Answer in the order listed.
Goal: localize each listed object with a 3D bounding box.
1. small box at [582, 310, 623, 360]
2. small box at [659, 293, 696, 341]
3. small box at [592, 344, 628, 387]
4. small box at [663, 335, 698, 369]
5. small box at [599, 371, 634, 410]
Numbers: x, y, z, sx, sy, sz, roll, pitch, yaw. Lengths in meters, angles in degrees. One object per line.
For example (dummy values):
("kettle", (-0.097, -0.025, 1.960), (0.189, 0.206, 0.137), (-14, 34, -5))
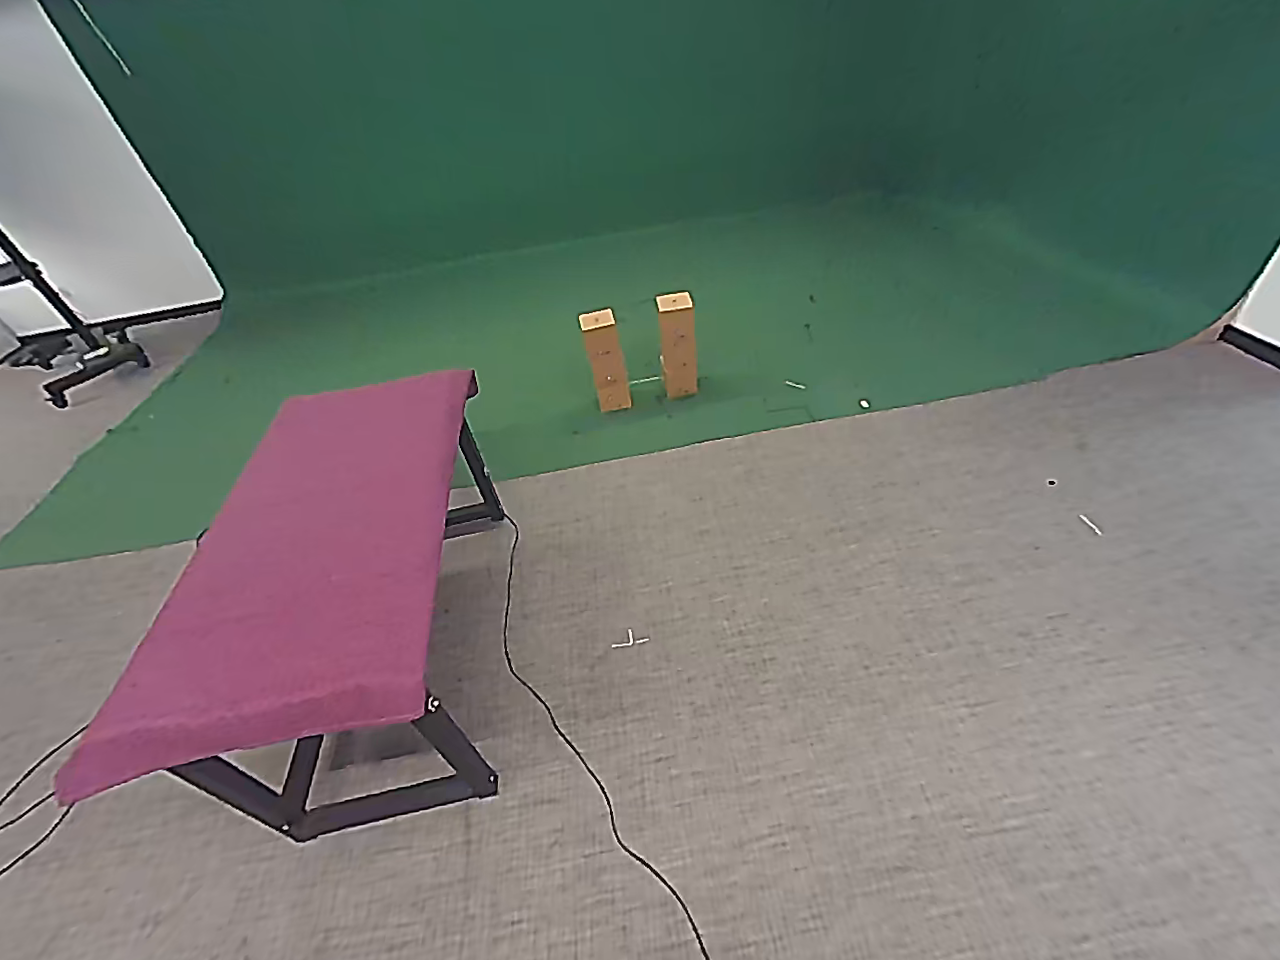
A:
("small box", (-0.189, -0.724, 2.696), (0.168, 0.176, 0.179), (-13, 42, -2))
("small box", (0.189, -0.820, 2.725), (0.168, 0.176, 0.179), (-8, 43, 2))
("small box", (-0.160, -0.607, 2.806), (0.168, 0.176, 0.179), (-12, 42, -2))
("small box", (0.211, -0.703, 2.839), (0.168, 0.176, 0.179), (-8, 42, 1))
("small box", (-0.132, -0.493, 2.921), (0.168, 0.176, 0.179), (-10, 41, 0))
